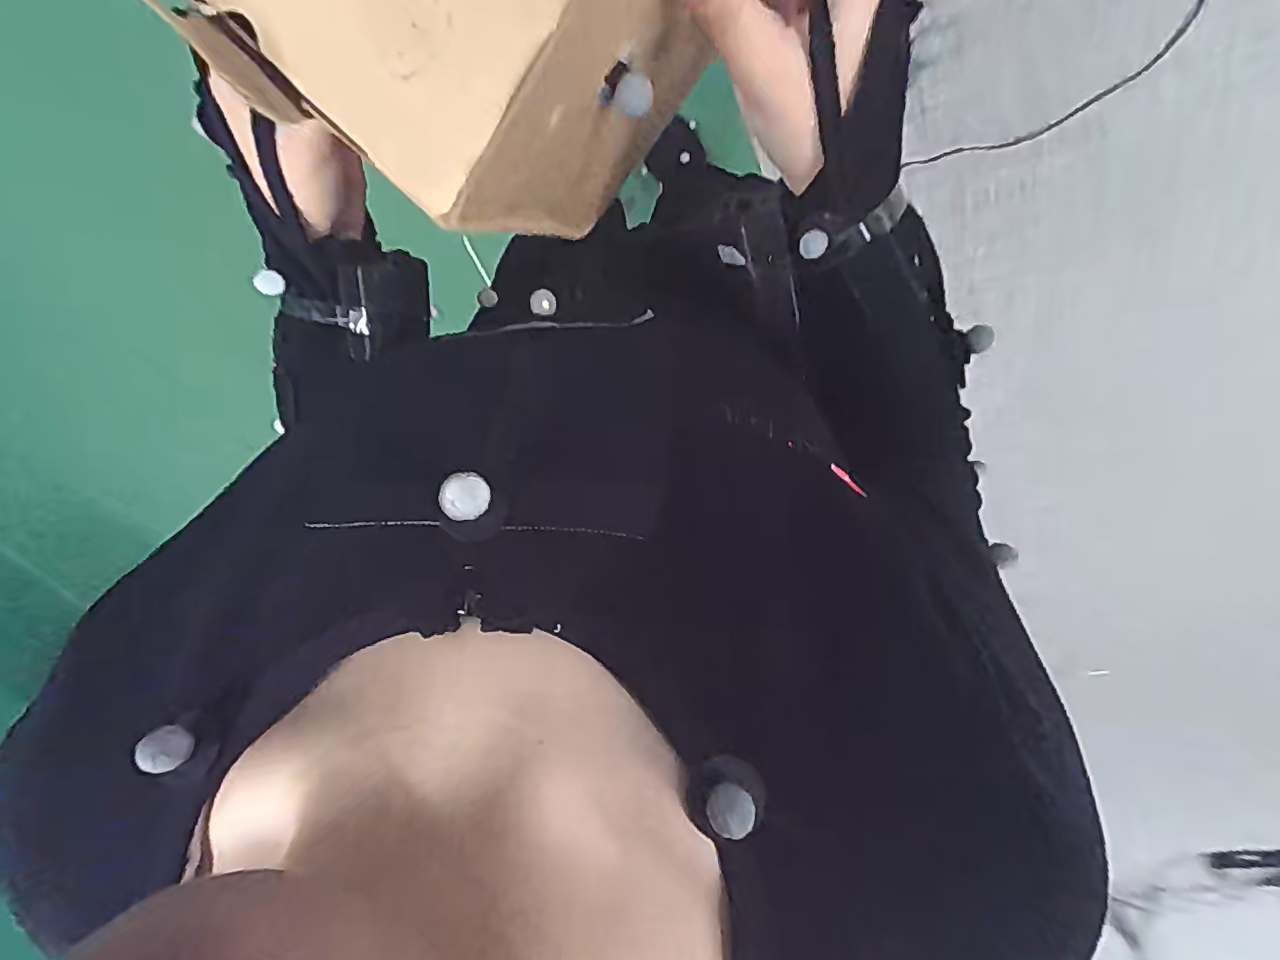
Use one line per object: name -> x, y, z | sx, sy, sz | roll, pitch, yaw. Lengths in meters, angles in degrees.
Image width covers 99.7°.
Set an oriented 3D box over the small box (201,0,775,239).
small box -> -0.049, -0.224, 0.219 | 0.168, 0.176, 0.179 | 42, 115, -8
